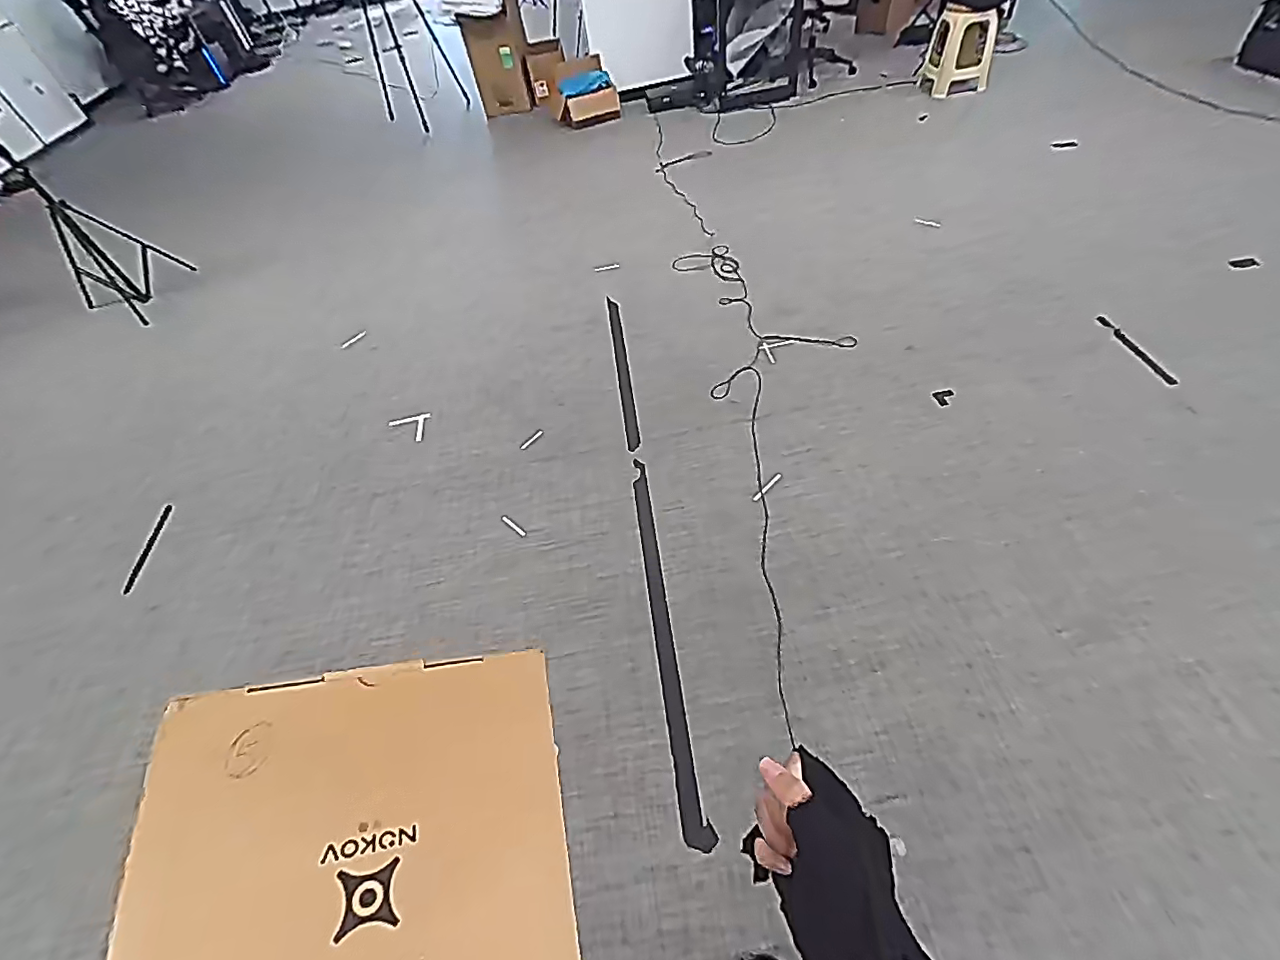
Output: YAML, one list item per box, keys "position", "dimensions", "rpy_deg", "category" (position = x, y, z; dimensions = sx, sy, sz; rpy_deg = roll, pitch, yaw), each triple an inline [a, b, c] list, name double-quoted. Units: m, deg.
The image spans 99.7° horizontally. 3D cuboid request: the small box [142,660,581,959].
- position: [-0.135, 0.218, 0.296]
  dimensions: [0.168, 0.176, 0.179]
  rpy_deg: [-1, 57, -21]
  category: "small box"
